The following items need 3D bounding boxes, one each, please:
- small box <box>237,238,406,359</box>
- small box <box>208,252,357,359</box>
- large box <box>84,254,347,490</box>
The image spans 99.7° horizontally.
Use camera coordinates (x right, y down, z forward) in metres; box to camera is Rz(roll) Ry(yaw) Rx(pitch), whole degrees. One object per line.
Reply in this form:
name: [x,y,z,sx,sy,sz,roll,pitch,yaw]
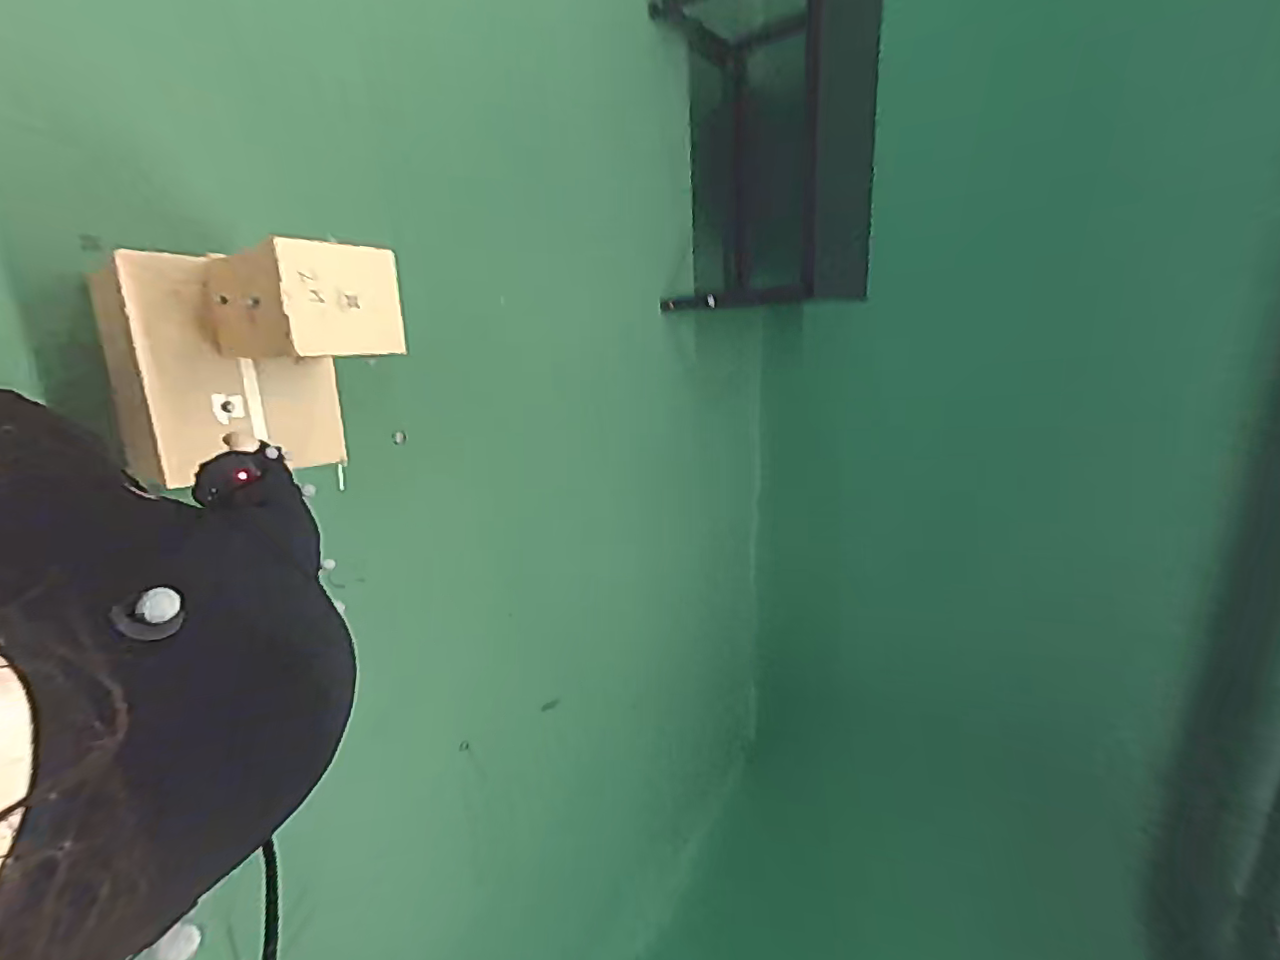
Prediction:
small box: [-0.512,-0.283,0.877,0.179,0.176,0.168,-18,111,-49]
small box: [-0.640,-0.306,0.979,0.179,0.176,0.168,-17,110,-50]
large box: [-0.858,-0.222,1.112,0.320,0.320,0.408,-16,110,-49]
